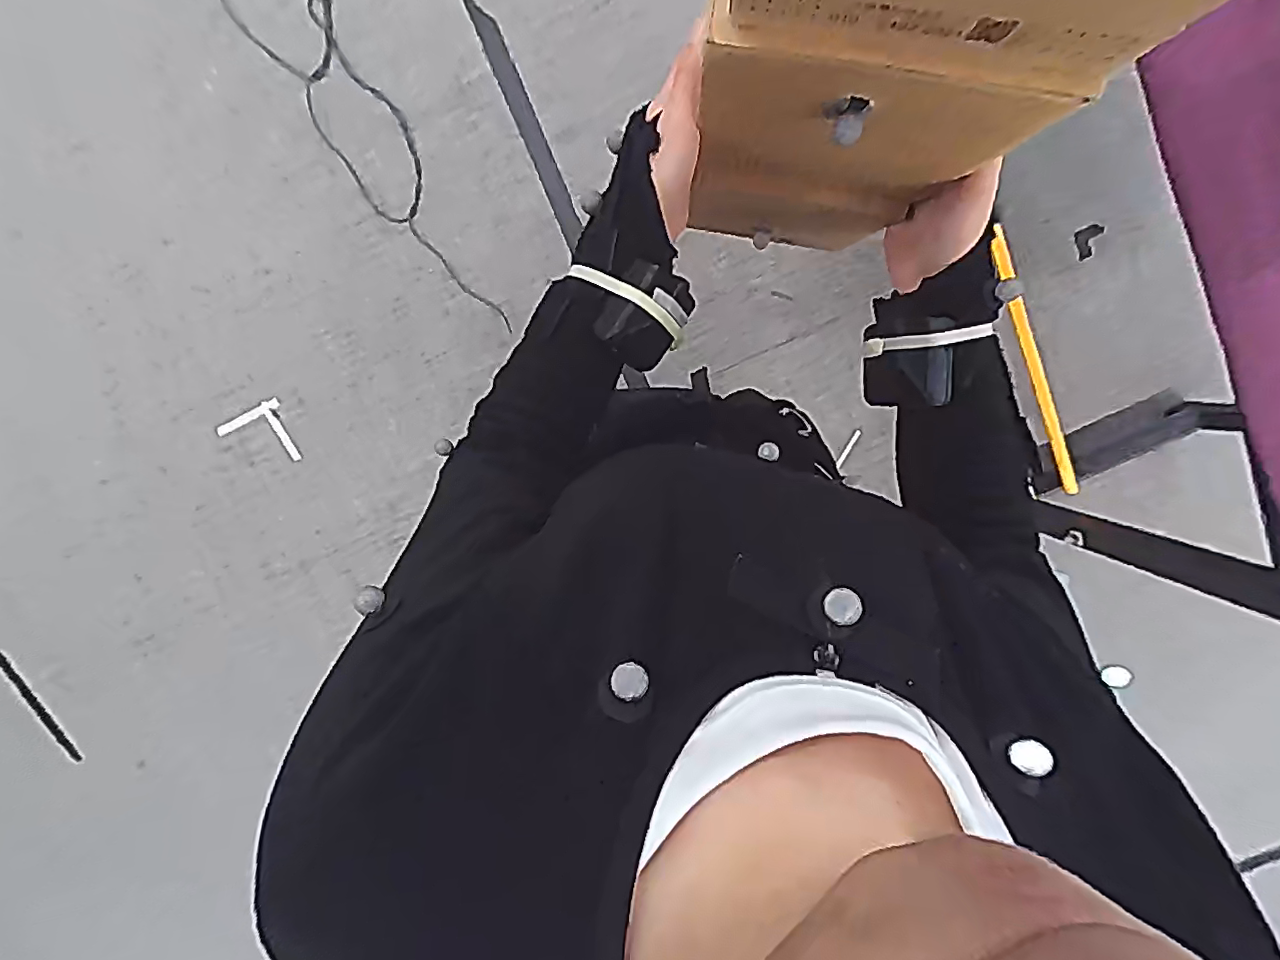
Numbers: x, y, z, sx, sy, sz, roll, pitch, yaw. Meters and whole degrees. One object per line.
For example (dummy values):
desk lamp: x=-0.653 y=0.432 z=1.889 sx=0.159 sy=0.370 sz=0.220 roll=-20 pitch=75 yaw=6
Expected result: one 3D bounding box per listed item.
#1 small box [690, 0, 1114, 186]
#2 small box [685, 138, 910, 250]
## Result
small box: x=0.127 y=-0.278 z=0.295 sx=0.179 sy=0.176 sz=0.168 roll=10 pitch=105 yaw=2
small box: x=0.131 y=-0.310 z=0.454 sx=0.168 sy=0.176 sz=0.179 roll=10 pitch=105 yaw=2
